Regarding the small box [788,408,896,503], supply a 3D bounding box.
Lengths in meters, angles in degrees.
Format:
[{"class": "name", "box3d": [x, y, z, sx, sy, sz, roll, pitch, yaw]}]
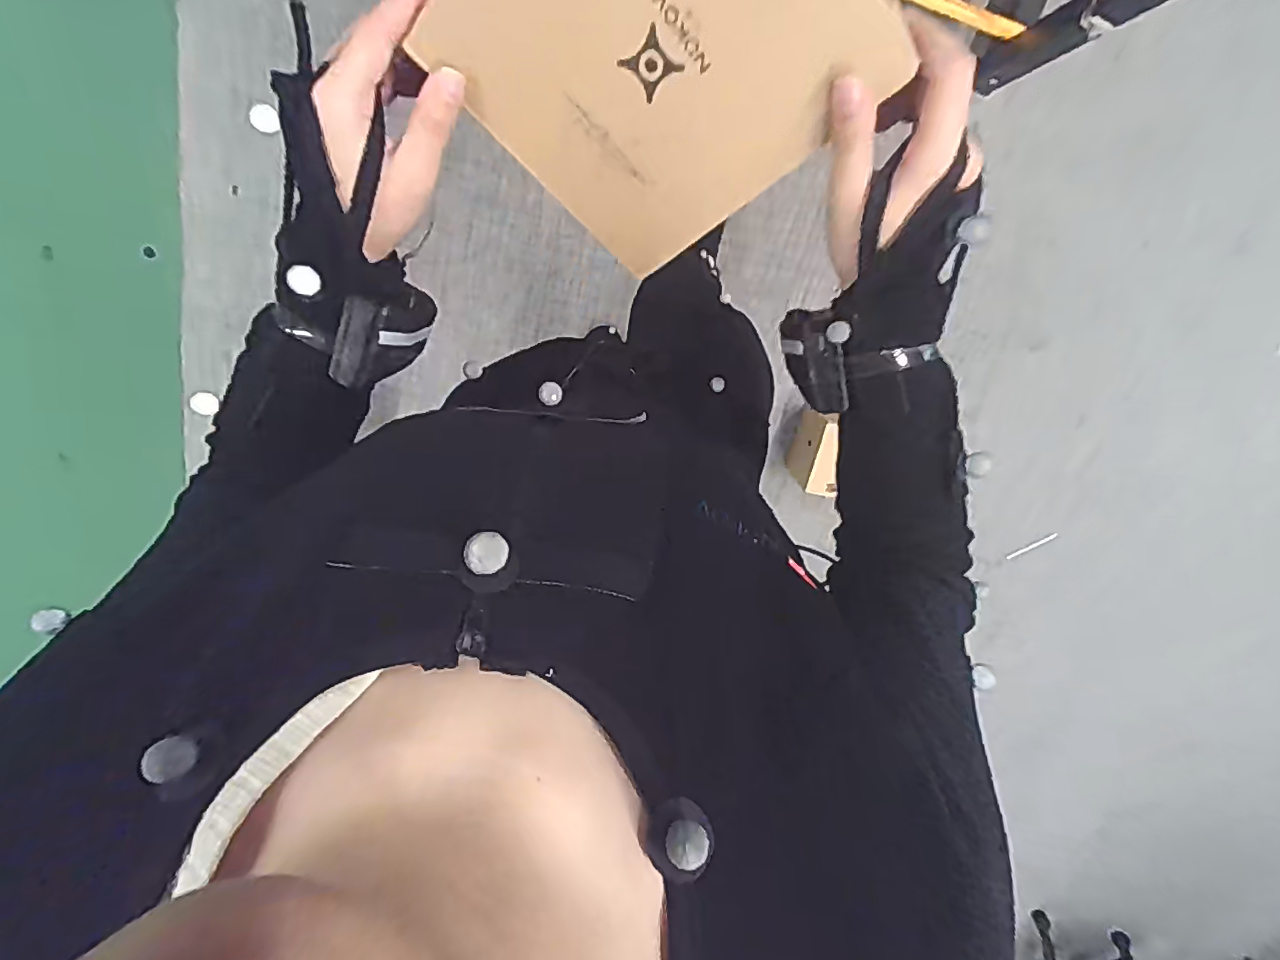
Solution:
[{"class": "small box", "box3d": [0.472, -0.065, 1.294, 0.168, 0.176, 0.179, 10, 109, -5]}]

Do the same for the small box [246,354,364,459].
[{"class": "small box", "box3d": [-0.754, -0.174, 1.231, 0.168, 0.176, 0.179, 17, 110, -7]}]

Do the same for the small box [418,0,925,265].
[{"class": "small box", "box3d": [0.018, -0.266, 0.290, 0.179, 0.176, 0.168, -24, 135, 38]}]
